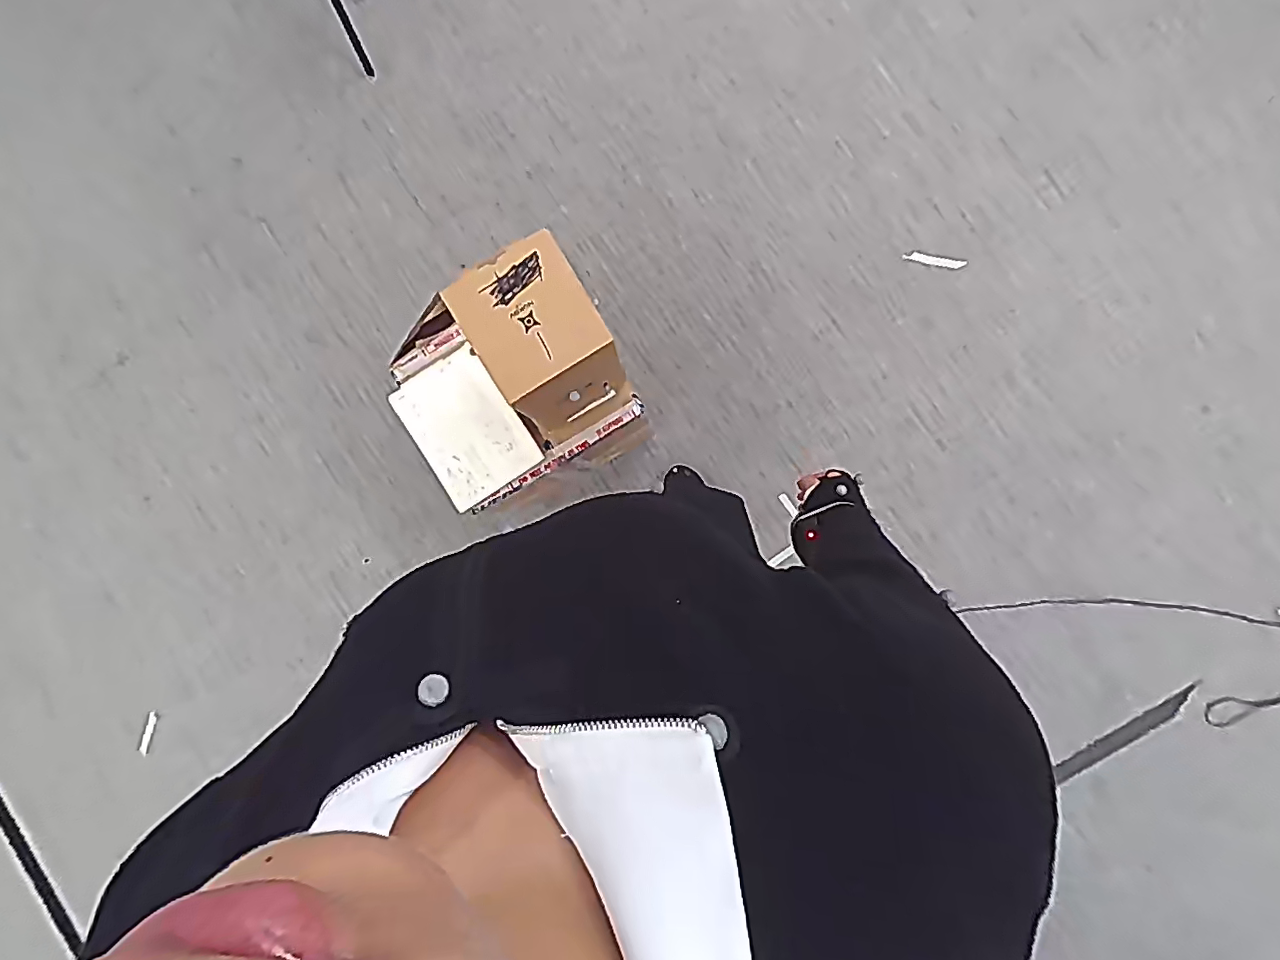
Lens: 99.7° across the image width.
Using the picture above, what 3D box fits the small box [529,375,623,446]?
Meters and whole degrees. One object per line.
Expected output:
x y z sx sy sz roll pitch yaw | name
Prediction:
-0.144 -0.176 0.957 0.179 0.176 0.168 -35 89 1 | small box

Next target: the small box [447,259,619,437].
-0.144 -0.179 0.792 0.168 0.176 0.179 -32 90 1 | small box
